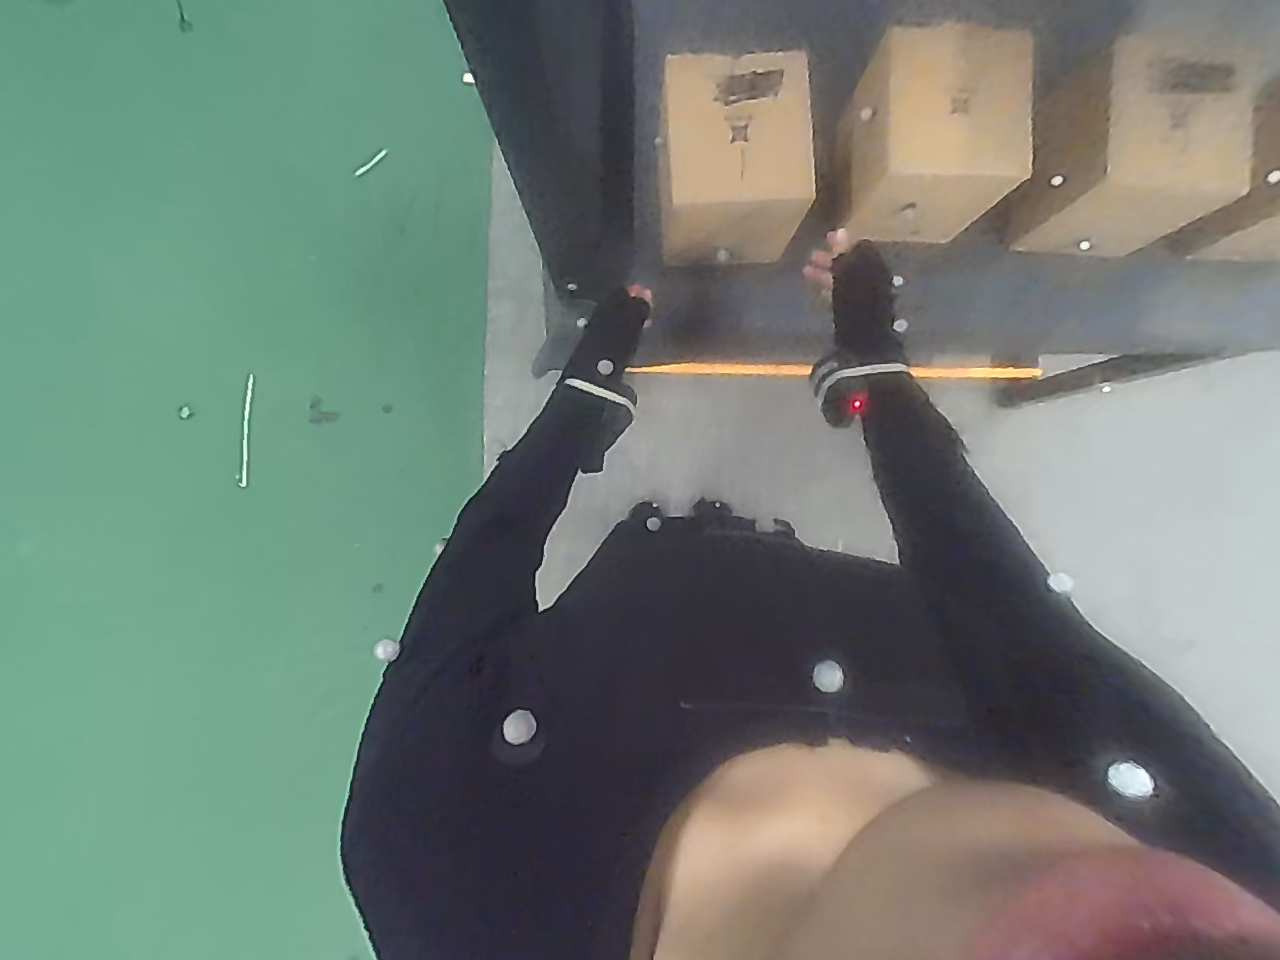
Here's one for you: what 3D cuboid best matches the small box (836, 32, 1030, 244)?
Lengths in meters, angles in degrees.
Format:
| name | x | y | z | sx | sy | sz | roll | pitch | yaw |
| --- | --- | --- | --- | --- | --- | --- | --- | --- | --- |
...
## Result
| name | x | y | z | sx | sy | sz | roll | pitch | yaw |
| --- | --- | --- | --- | --- | --- | --- | --- | --- | --- |
| small box | 0.367 | -0.428 | 0.704 | 0.168 | 0.176 | 0.179 | 2 | 87 | 0 |

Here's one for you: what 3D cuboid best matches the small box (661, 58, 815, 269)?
| name | x | y | z | sx | sy | sz | roll | pitch | yaw |
| --- | --- | --- | --- | --- | --- | --- | --- | --- | --- |
| small box | 0.115 | -0.396 | 0.701 | 0.168 | 0.176 | 0.179 | -3 | 88 | 0 |

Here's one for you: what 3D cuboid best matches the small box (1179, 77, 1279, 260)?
| name | x | y | z | sx | sy | sz | roll | pitch | yaw |
| --- | --- | --- | --- | --- | --- | --- | --- | --- | --- |
| small box | 0.860 | -0.403 | 0.700 | 0.168 | 0.176 | 0.179 | 0 | 86 | 0 |
